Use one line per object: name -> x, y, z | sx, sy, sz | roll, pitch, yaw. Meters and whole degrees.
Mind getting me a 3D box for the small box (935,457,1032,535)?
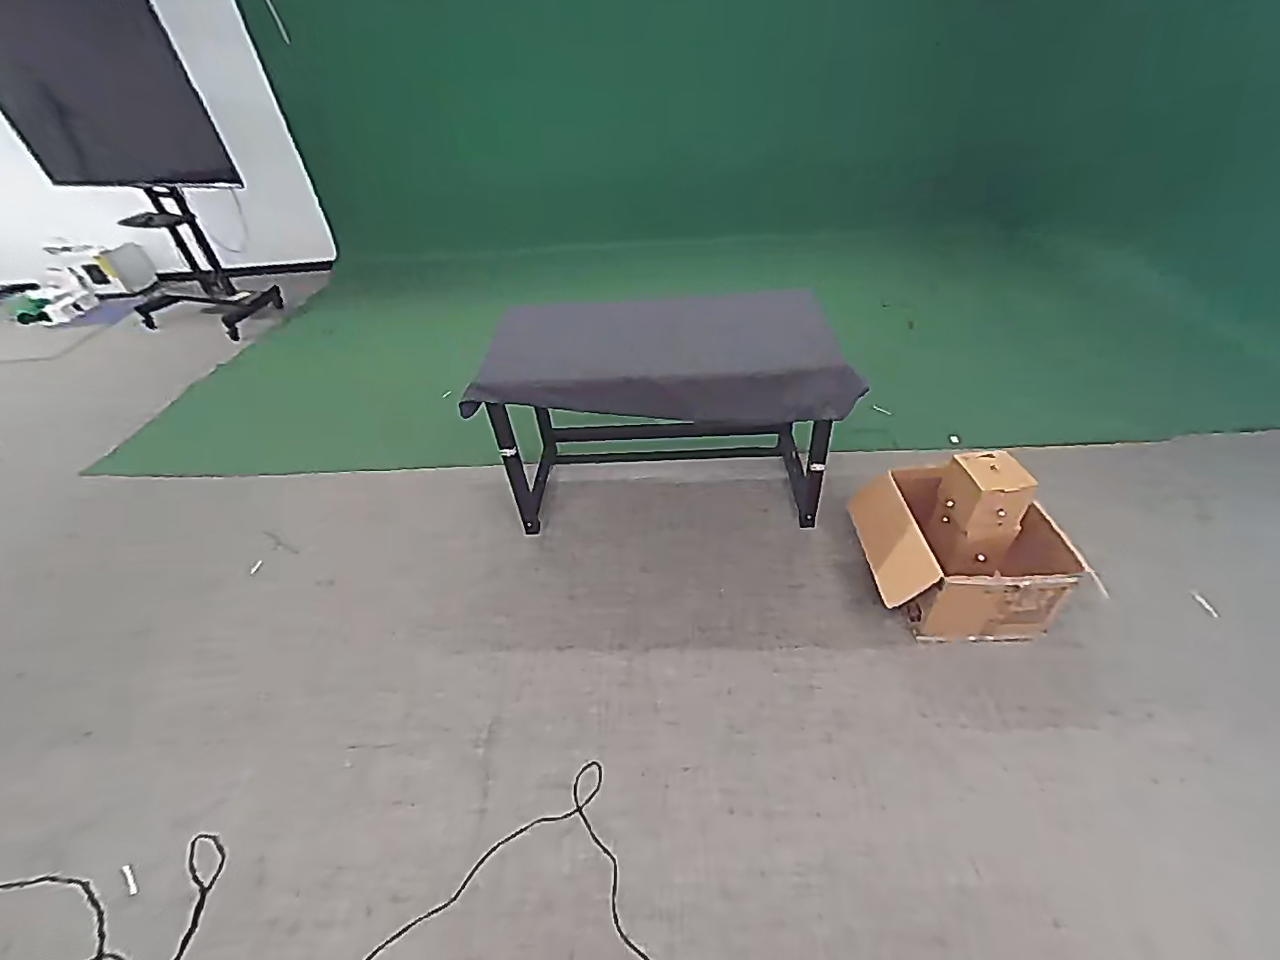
small box -> 1.046, 0.056, 1.661 | 0.168, 0.176, 0.179 | -6, 39, -2
